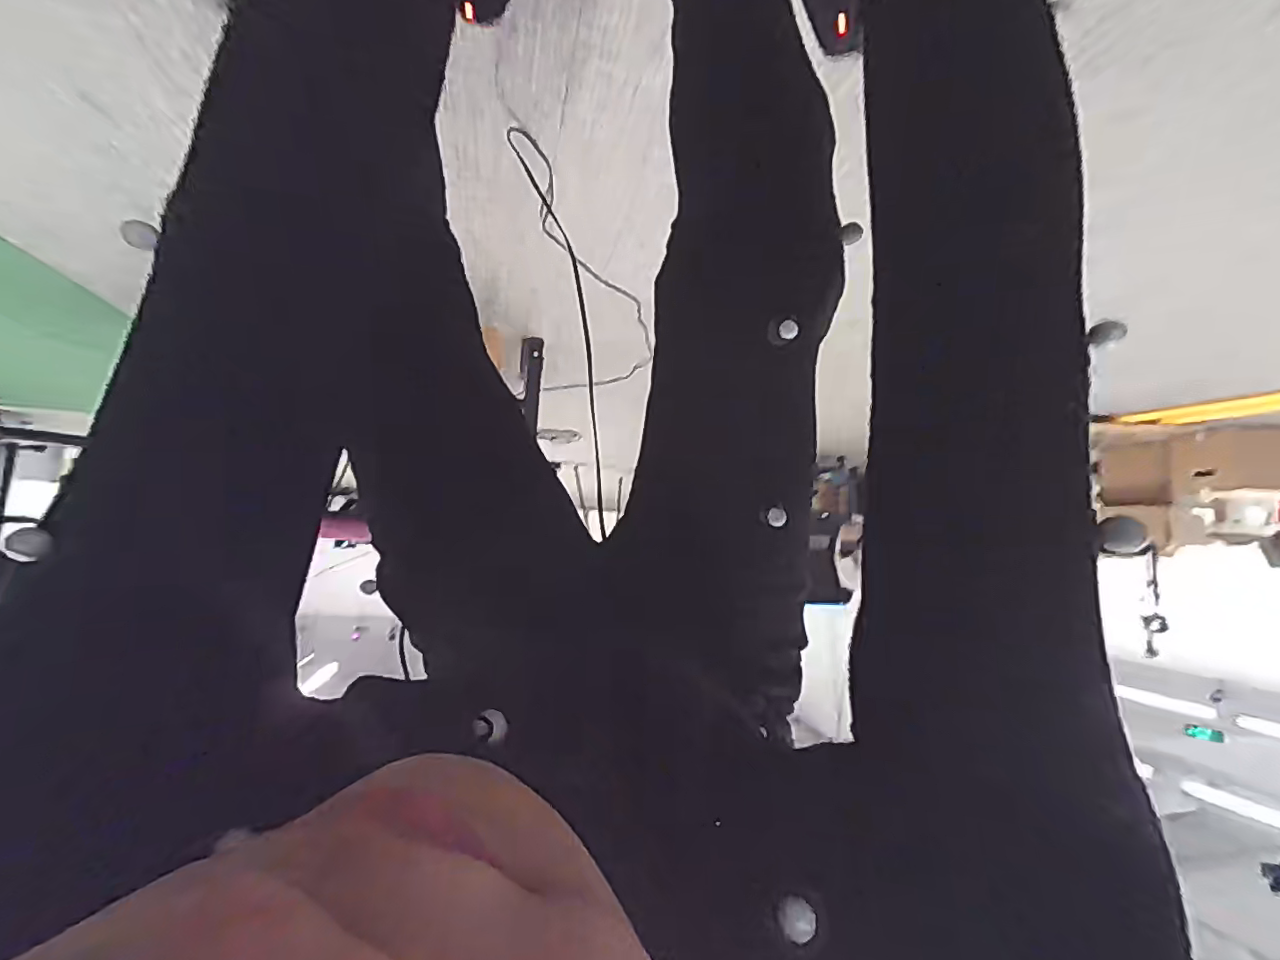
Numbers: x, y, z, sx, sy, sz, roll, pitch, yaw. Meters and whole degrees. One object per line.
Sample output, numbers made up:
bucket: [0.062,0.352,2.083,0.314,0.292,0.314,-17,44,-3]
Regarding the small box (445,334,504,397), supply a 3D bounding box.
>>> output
small box: [-0.575,-0.400,1.892,0.168,0.176,0.179,3,173,-6]
